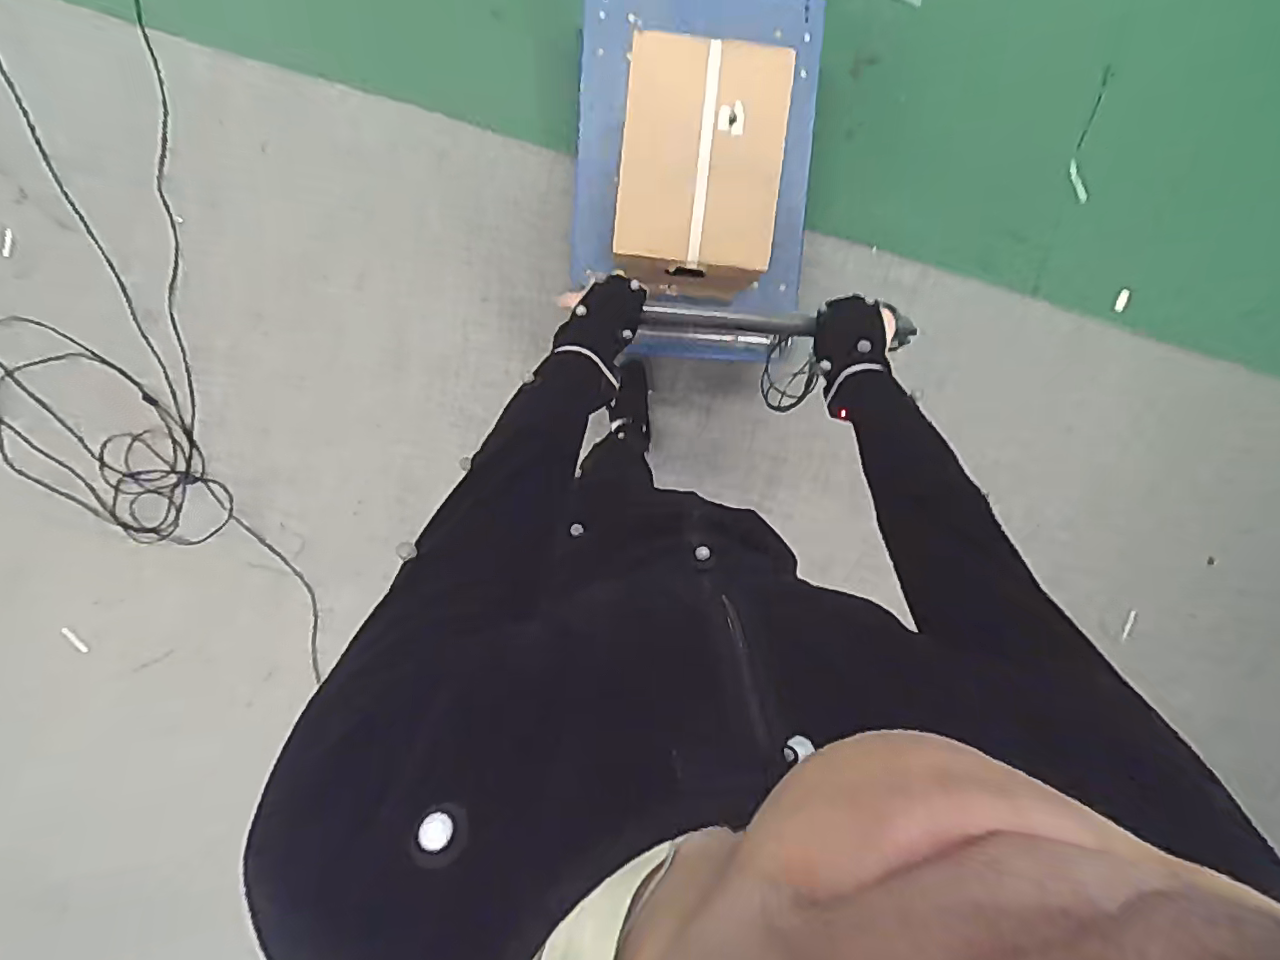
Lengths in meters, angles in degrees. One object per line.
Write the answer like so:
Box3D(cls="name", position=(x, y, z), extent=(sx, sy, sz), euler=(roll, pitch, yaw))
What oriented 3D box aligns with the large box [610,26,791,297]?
Box3D(cls="large box", position=(0.107, -0.644, 1.174), extent=(0.320, 0.320, 0.408), euler=(6, 97, -5))
